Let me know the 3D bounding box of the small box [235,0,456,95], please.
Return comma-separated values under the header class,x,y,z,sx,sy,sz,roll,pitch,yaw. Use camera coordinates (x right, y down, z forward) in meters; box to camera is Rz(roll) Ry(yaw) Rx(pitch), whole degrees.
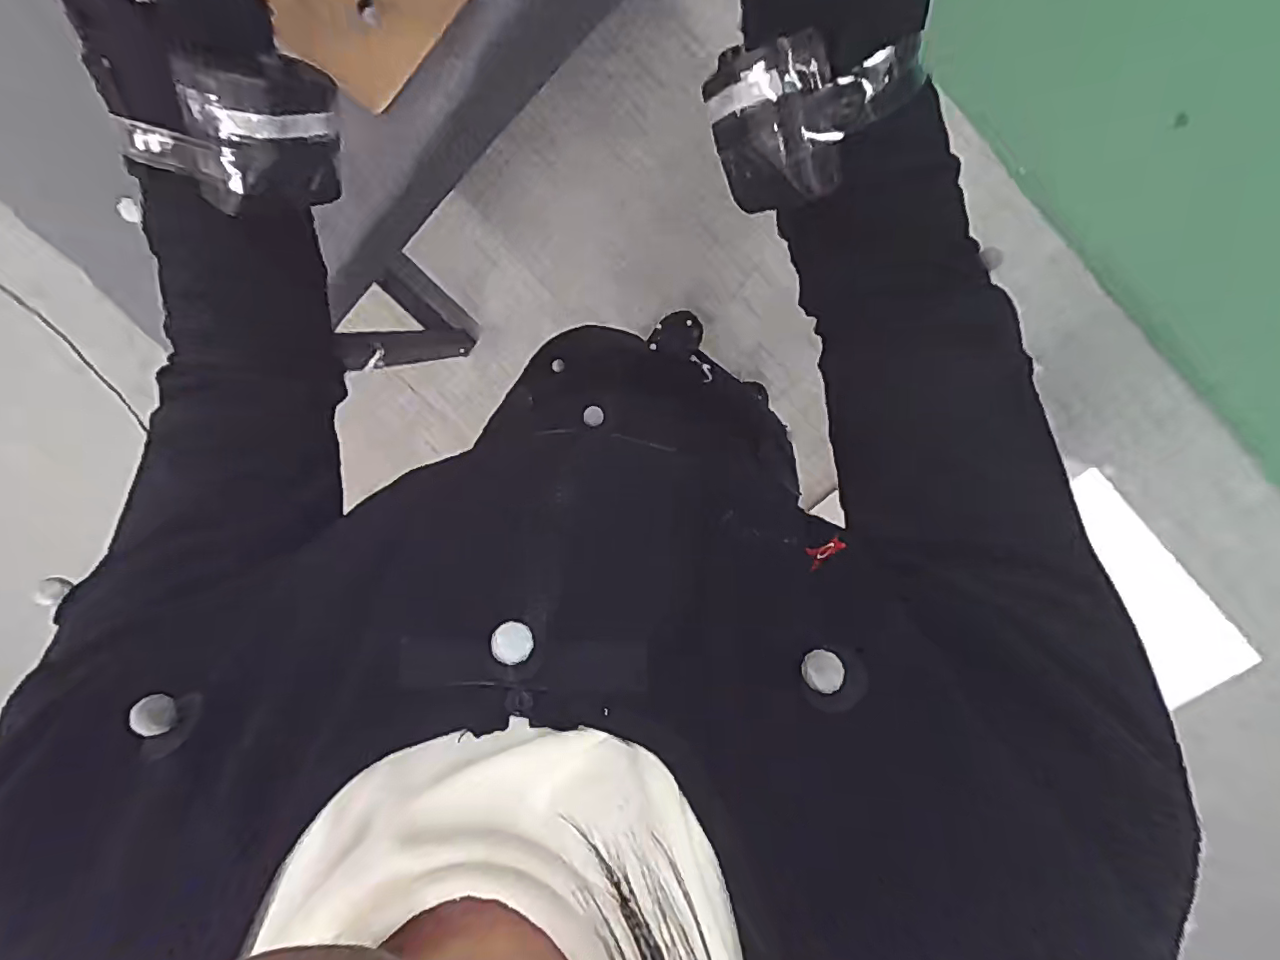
class,x,y,z,sx,sy,sz,roll,pitch,yaw
small box,-0.292,-0.508,0.493,0.179,0.176,0.168,-40,96,17
